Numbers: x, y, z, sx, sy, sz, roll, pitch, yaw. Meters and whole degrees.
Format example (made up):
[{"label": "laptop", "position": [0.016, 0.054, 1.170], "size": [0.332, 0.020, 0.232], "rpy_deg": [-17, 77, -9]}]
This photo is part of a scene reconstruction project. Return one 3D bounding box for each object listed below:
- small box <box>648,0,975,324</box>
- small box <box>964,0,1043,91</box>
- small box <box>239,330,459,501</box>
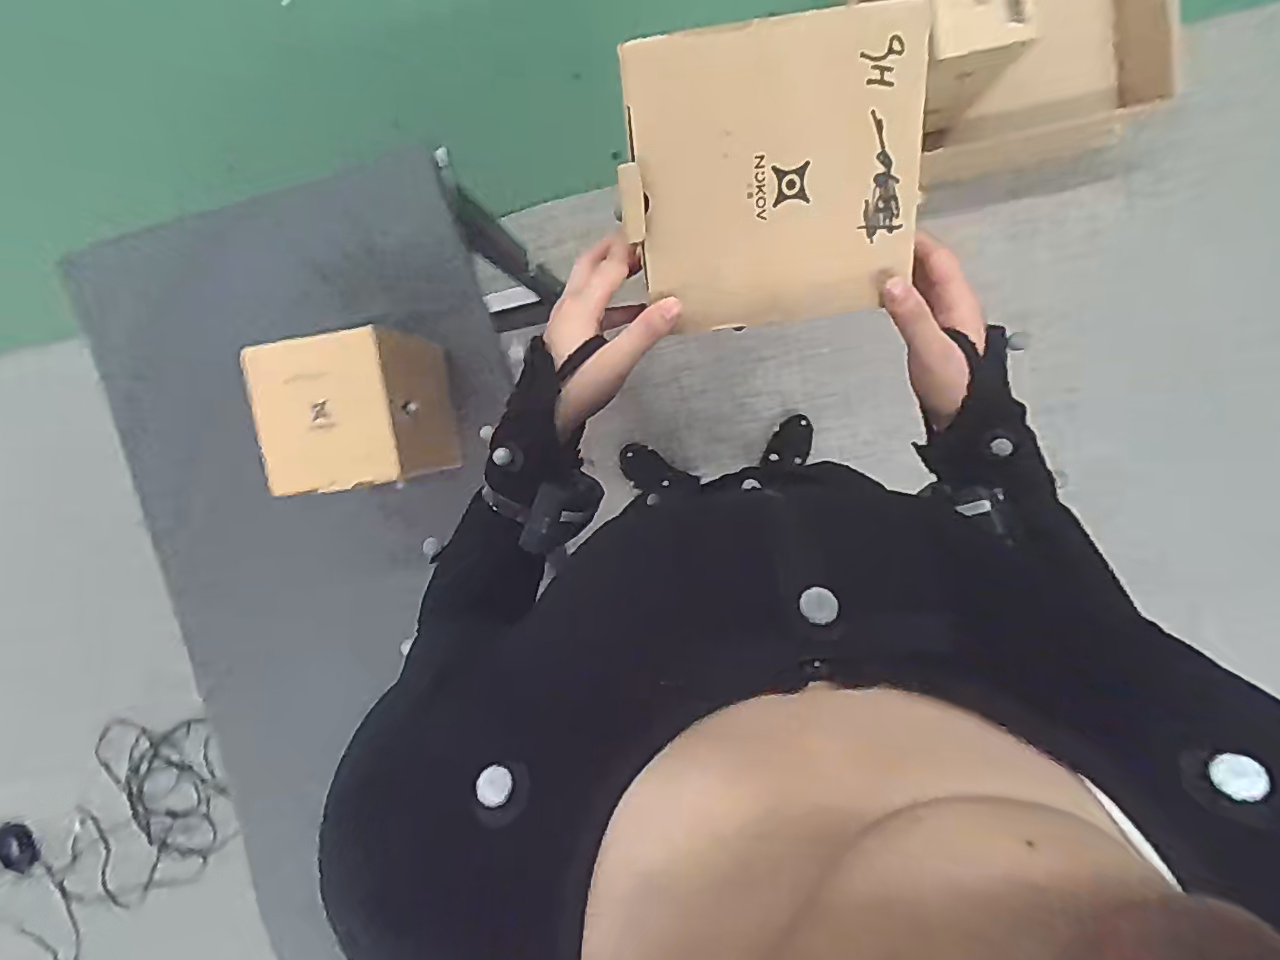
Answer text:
[{"label": "small box", "position": [0.100, -0.212, 0.393], "size": [0.179, 0.176, 0.168], "rpy_deg": [-5, 113, 2]}, {"label": "small box", "position": [0.605, -0.852, 1.011], "size": [0.179, 0.176, 0.168], "rpy_deg": [-9, 97, 7]}, {"label": "small box", "position": [-0.350, -0.081, 0.685], "size": [0.168, 0.176, 0.179], "rpy_deg": [-8, 96, 7]}]
